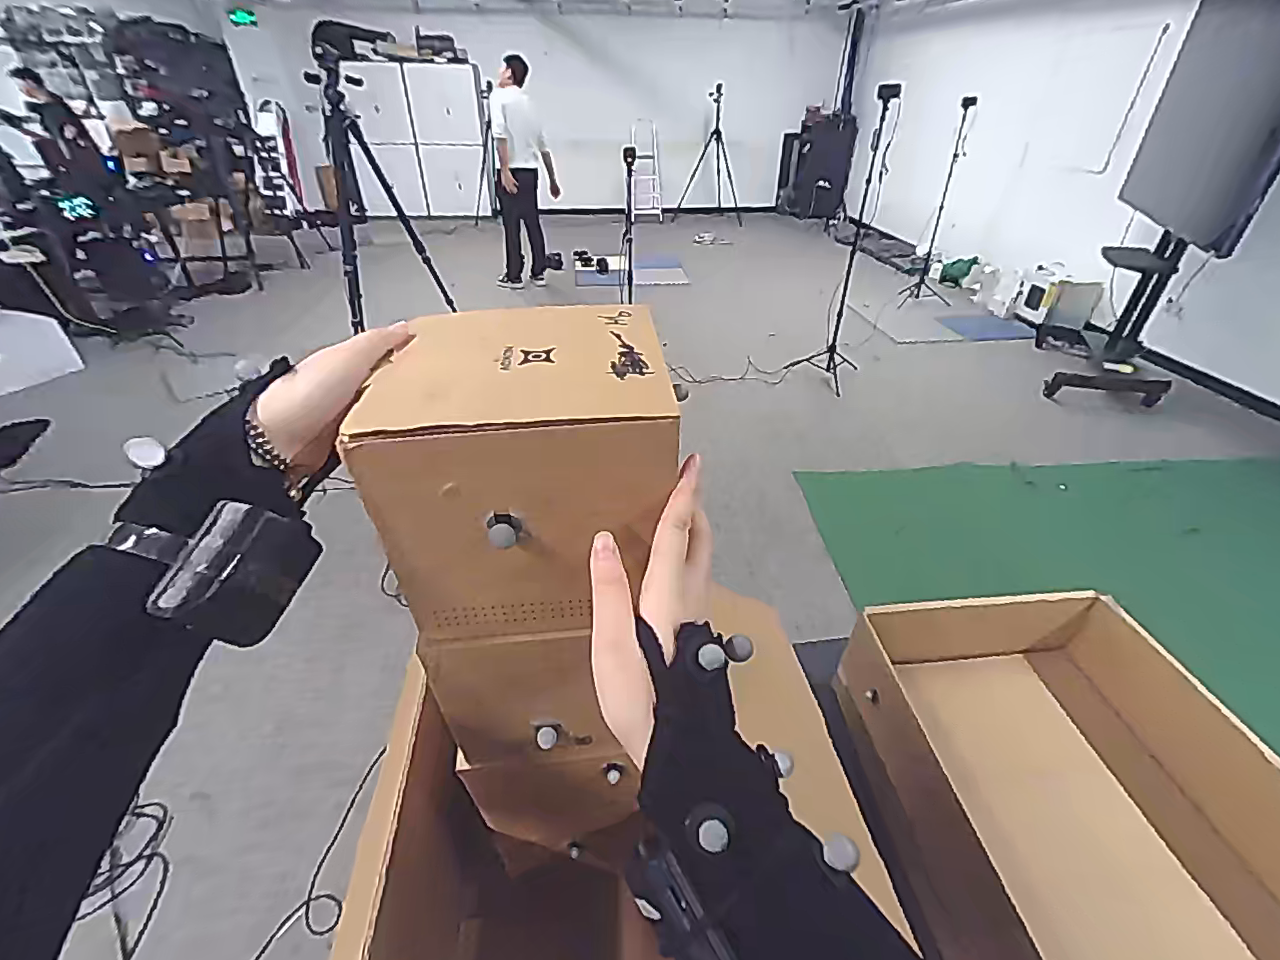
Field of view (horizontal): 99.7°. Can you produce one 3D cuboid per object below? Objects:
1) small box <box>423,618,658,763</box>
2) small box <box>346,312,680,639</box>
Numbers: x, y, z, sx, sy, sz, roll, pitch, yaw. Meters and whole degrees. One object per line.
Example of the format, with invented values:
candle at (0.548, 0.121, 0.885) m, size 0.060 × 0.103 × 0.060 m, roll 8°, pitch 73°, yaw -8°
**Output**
small box at (-0.075, 0.125, 0.489) m, size 0.168 × 0.176 × 0.179 m, roll -4°, pitch 39°, yaw -4°
small box at (-0.068, -0.004, 0.389) m, size 0.179 × 0.176 × 0.168 m, roll -5°, pitch 39°, yaw -3°
